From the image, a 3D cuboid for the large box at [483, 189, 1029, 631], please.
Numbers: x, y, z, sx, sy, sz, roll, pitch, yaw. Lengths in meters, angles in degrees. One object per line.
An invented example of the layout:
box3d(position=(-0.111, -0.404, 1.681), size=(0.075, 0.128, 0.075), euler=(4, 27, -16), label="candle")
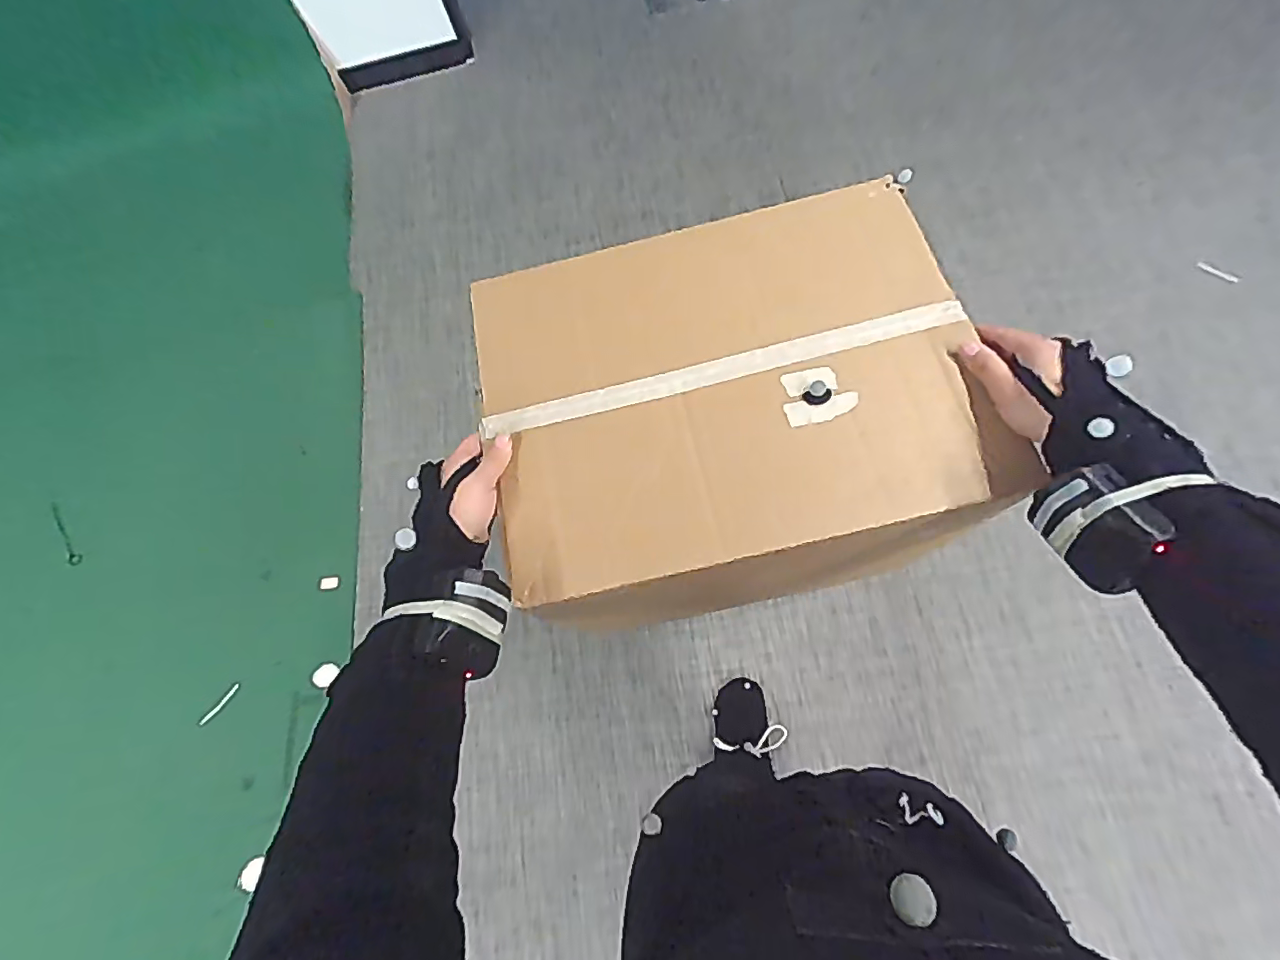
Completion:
box3d(position=(0.086, -0.041, 0.602), size=(0.408, 0.320, 0.320), euler=(-13, 70, 1), label="large box")
